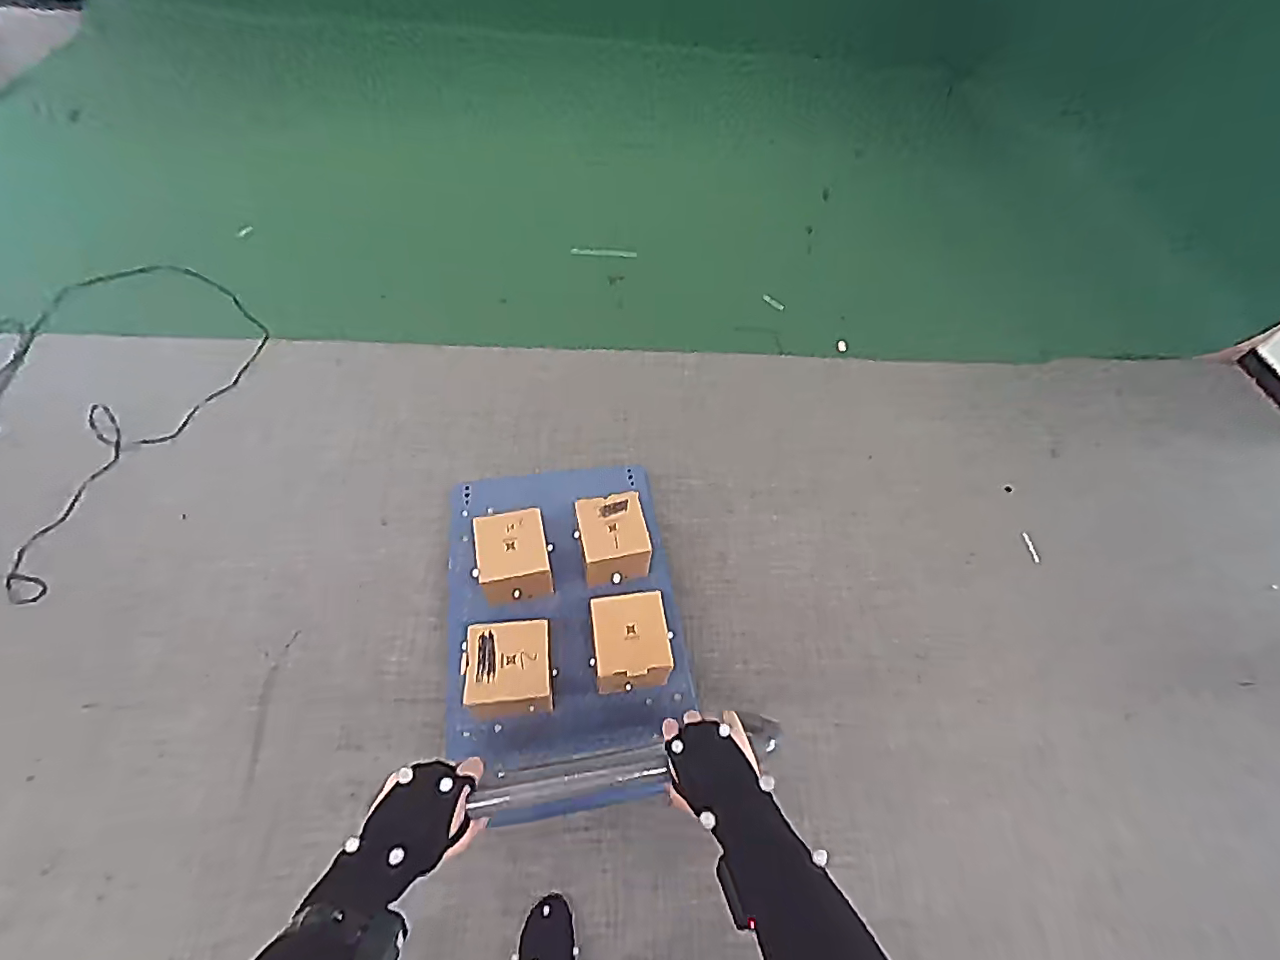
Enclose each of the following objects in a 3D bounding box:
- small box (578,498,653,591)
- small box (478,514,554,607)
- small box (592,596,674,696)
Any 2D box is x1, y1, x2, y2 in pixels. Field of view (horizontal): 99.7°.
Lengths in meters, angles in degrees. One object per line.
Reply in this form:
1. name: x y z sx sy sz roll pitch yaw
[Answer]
1. small box: -0.071 0.173 1.434 0.168 0.176 0.179 -9 58 -10
2. small box: -0.314 0.213 1.385 0.168 0.176 0.179 -9 57 -12
3. small box: -0.024 0.397 1.289 0.168 0.176 0.179 -5 57 -9
